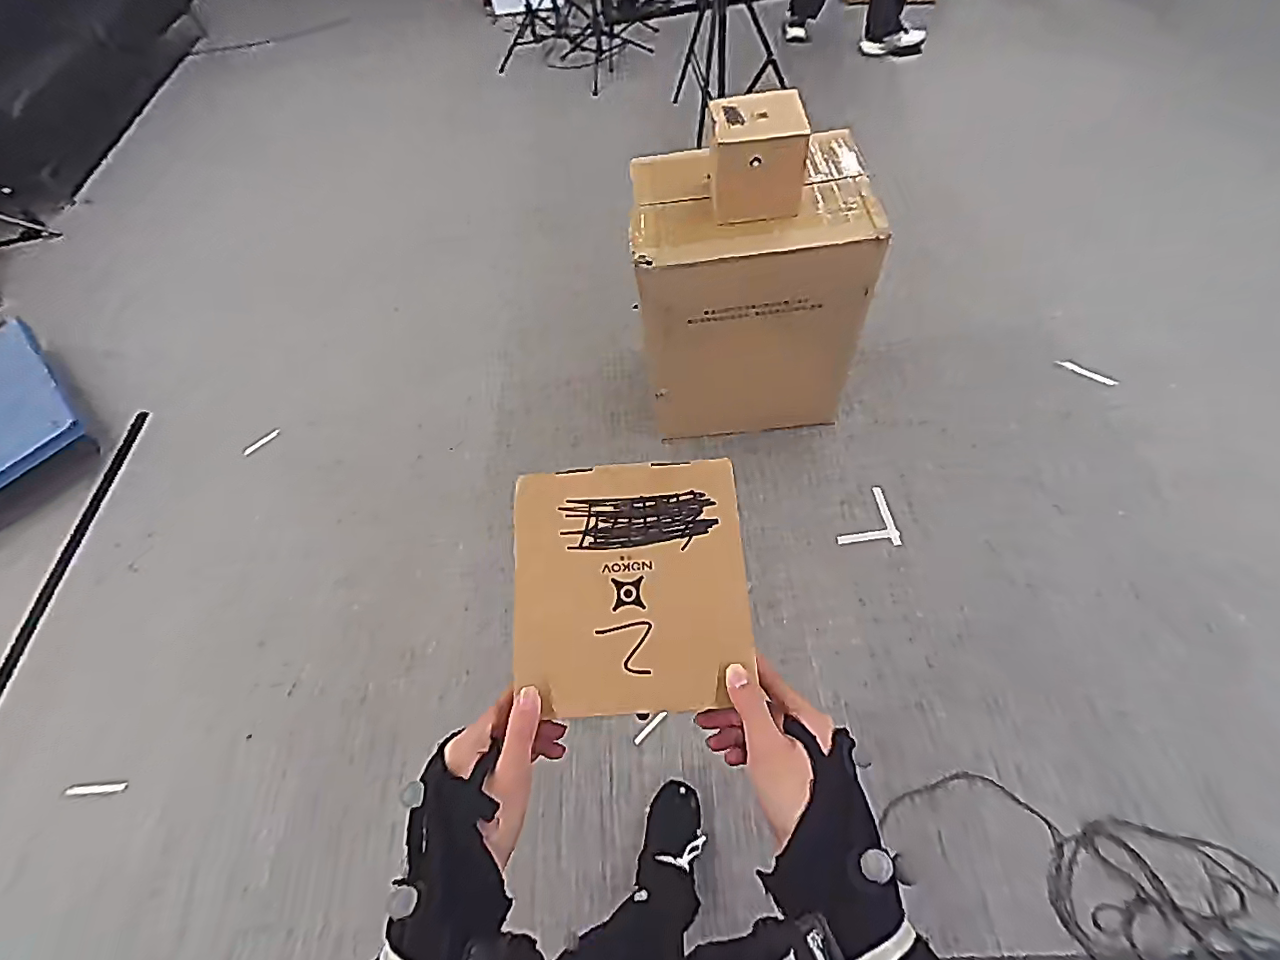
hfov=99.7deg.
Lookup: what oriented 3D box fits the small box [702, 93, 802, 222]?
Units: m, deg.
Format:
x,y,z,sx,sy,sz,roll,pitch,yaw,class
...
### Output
x,y,z,sx,sy,sz,roll,pitch,yaw,class
0.224,-0.657,1.116,0.179,0.176,0.168,-4,59,4,small box
